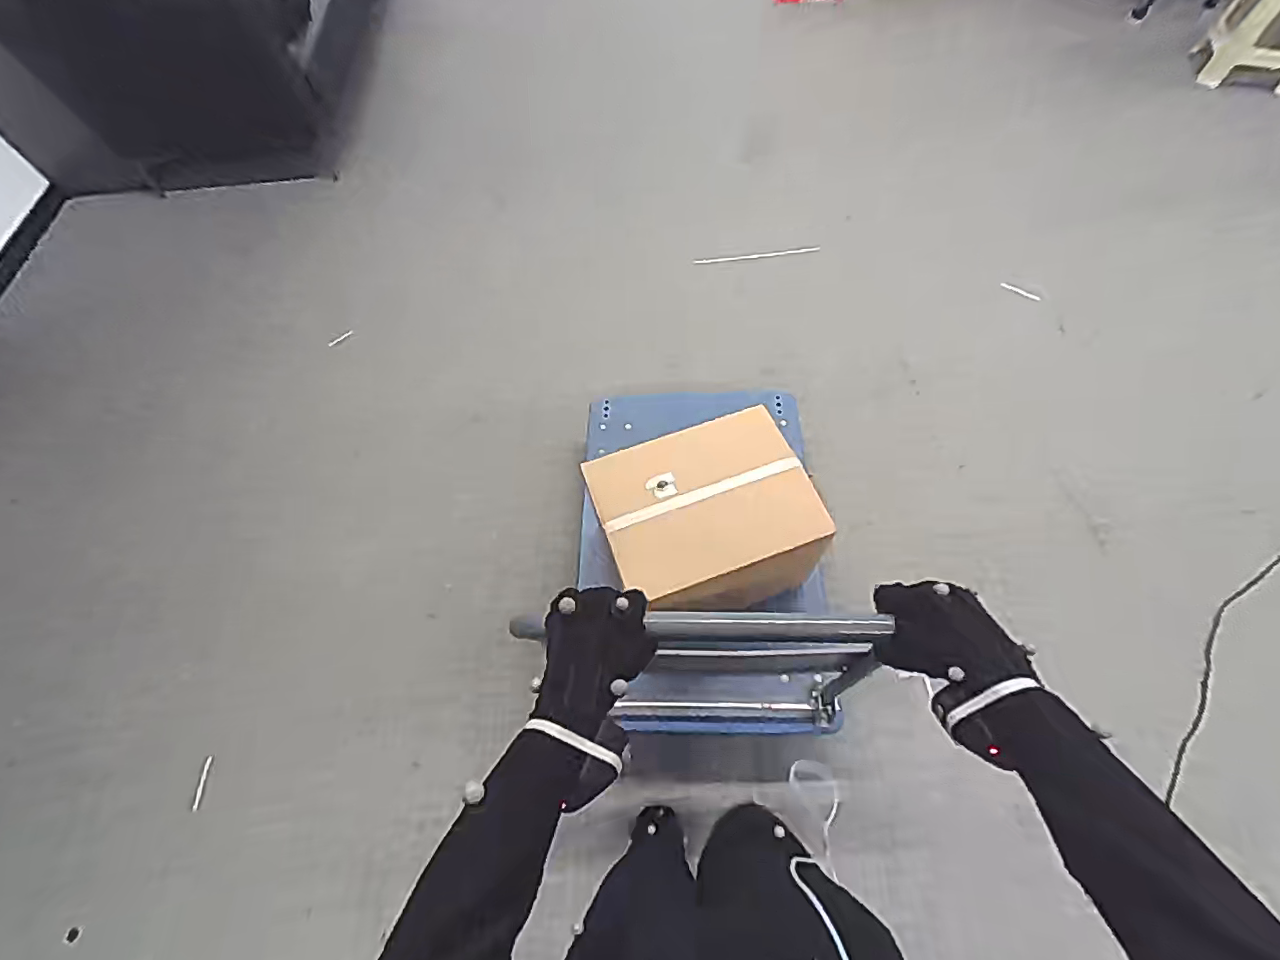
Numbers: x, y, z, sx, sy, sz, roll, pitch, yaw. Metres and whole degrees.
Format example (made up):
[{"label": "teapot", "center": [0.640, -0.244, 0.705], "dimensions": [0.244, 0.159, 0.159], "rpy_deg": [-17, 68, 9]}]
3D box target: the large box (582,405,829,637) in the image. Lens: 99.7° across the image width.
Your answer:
[{"label": "large box", "center": [0.127, 0.100, 1.175], "dimensions": [0.408, 0.320, 0.320], "rpy_deg": [-19, 61, -6]}]
